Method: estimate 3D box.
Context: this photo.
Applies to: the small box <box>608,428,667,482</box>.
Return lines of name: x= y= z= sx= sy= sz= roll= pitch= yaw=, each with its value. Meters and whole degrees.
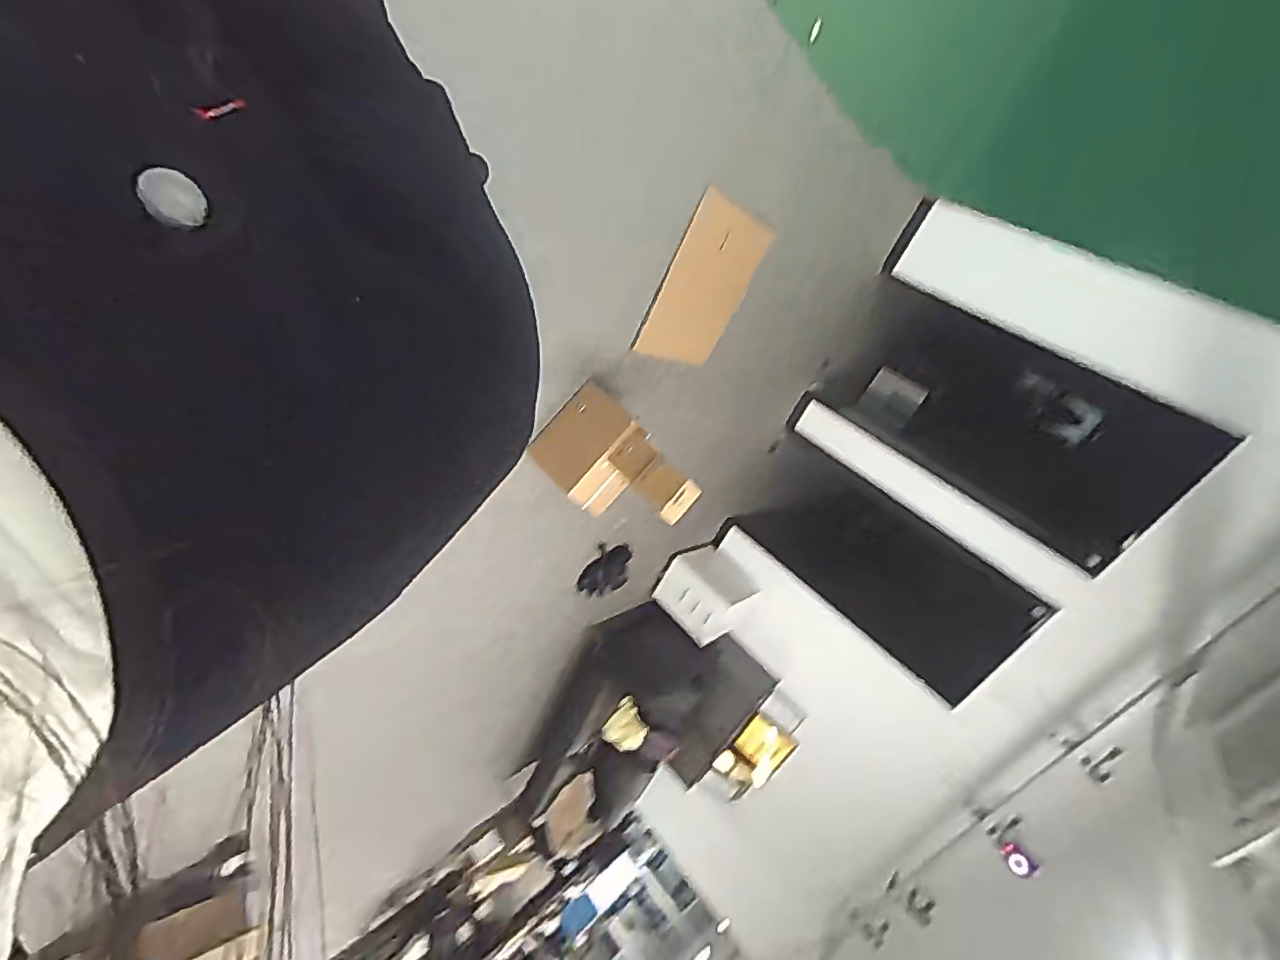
small box: x=0.004 y=-0.080 z=2.152 sx=0.168 sy=0.176 sz=0.179 roll=-48 pitch=150 yaw=-3

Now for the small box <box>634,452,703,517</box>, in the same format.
small box: x=0.105 y=0.013 z=2.060 sx=0.168 sy=0.176 sz=0.179 roll=-51 pitch=150 yaw=3
